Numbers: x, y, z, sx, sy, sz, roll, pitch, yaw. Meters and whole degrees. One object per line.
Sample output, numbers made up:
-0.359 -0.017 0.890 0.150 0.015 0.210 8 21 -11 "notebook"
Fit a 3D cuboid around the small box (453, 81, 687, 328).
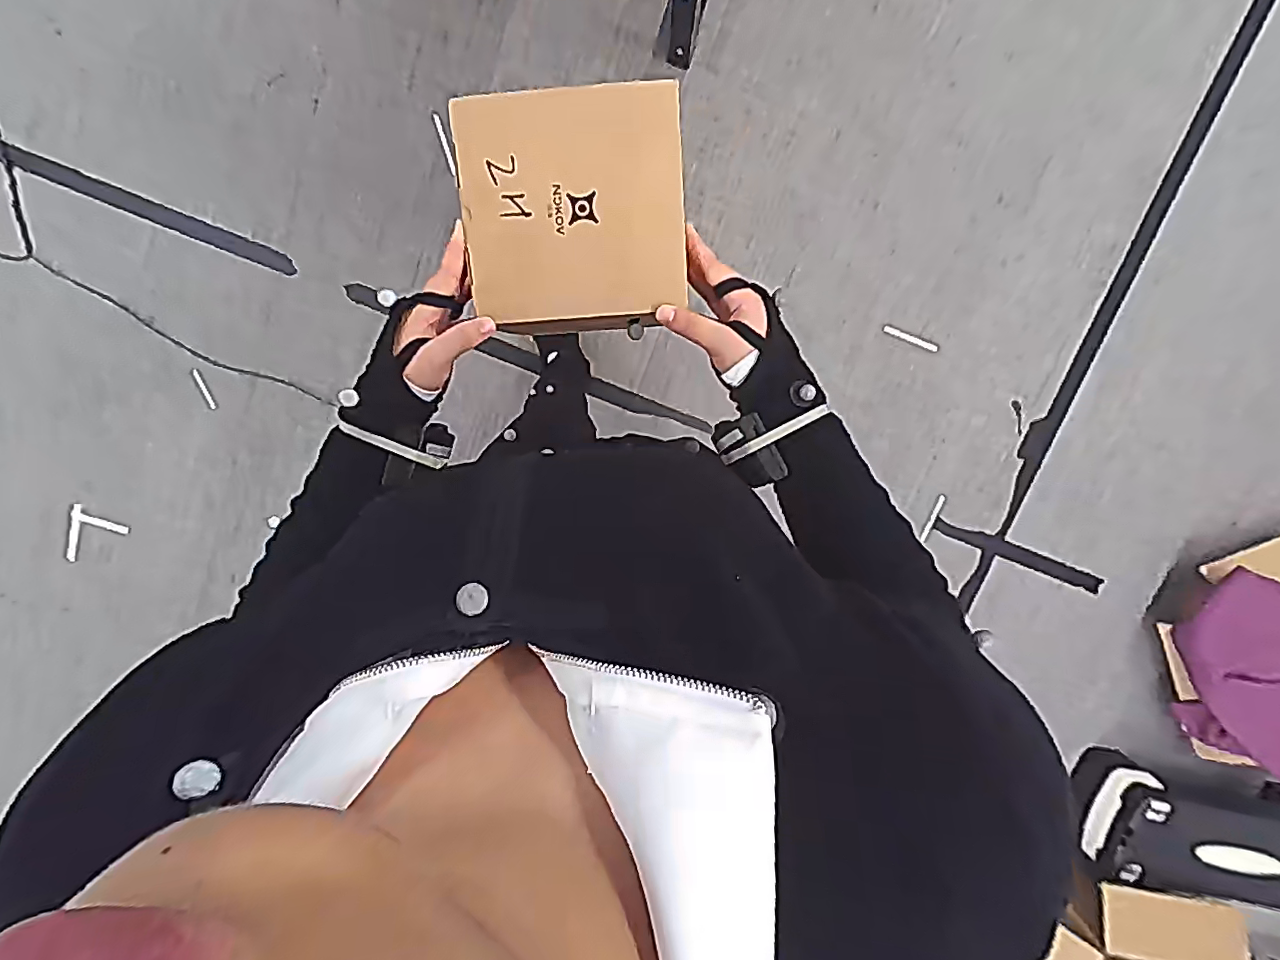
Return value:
-0.052 -0.235 0.504 0.179 0.176 0.168 -3 102 2 "small box"
